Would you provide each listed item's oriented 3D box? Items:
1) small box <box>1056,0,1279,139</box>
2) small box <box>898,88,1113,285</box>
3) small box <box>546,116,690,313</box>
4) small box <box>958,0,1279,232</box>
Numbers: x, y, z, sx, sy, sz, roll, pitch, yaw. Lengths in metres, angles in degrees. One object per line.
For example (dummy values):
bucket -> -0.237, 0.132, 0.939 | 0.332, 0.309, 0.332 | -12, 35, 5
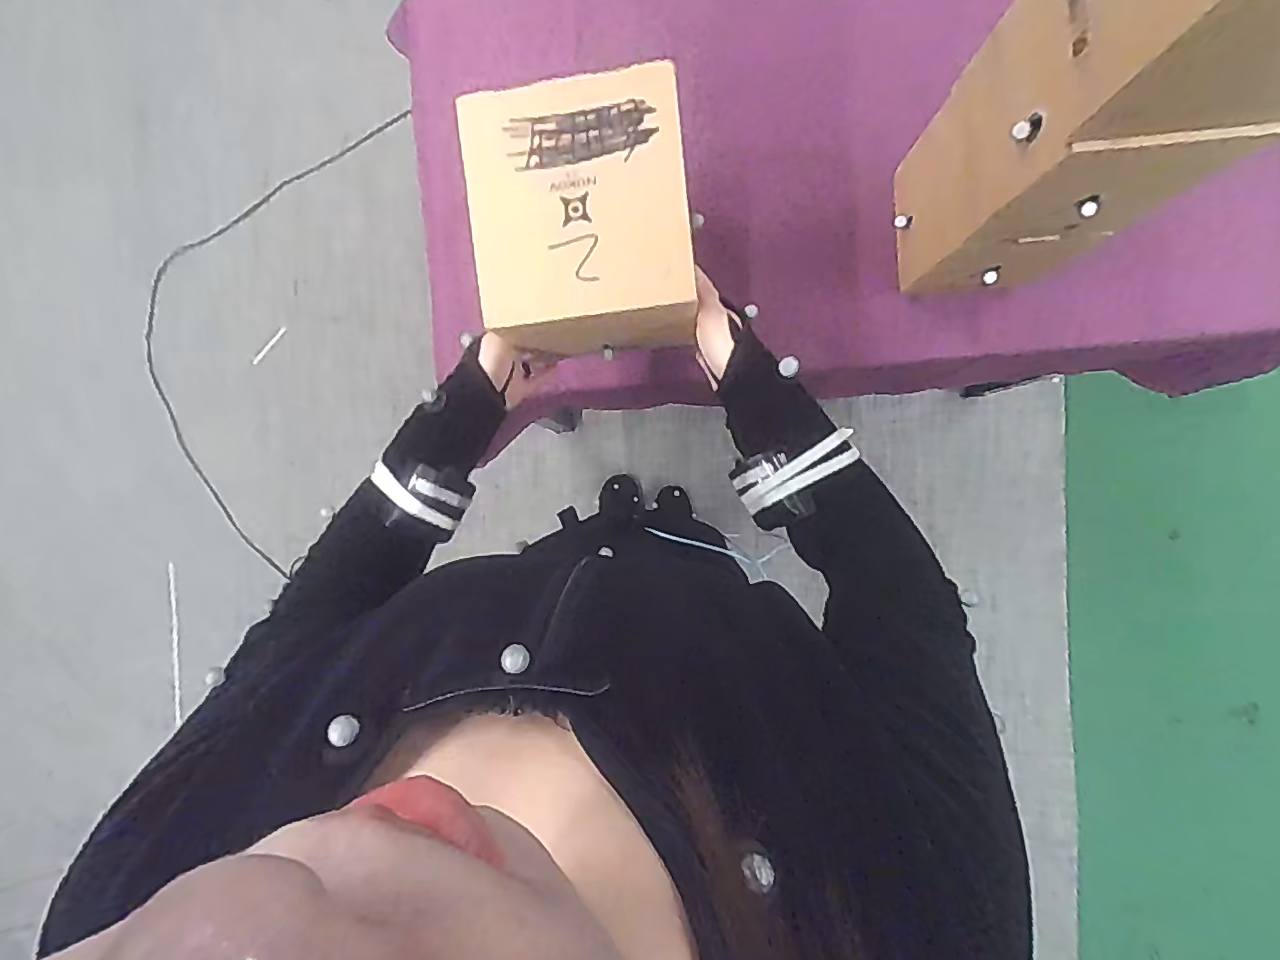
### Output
small box -> 0.417, -0.356, 0.350 | 0.179, 0.176, 0.168 | -3, 89, 4
small box -> 0.441, -0.355, 0.677 | 0.168, 0.176, 0.179 | -3, 91, 2
small box -> -0.023, -0.329, 0.699 | 0.168, 0.176, 0.179 | -2, 91, 3
small box -> 0.430, -0.353, 0.513 | 0.168, 0.176, 0.179 | -3, 90, 2
